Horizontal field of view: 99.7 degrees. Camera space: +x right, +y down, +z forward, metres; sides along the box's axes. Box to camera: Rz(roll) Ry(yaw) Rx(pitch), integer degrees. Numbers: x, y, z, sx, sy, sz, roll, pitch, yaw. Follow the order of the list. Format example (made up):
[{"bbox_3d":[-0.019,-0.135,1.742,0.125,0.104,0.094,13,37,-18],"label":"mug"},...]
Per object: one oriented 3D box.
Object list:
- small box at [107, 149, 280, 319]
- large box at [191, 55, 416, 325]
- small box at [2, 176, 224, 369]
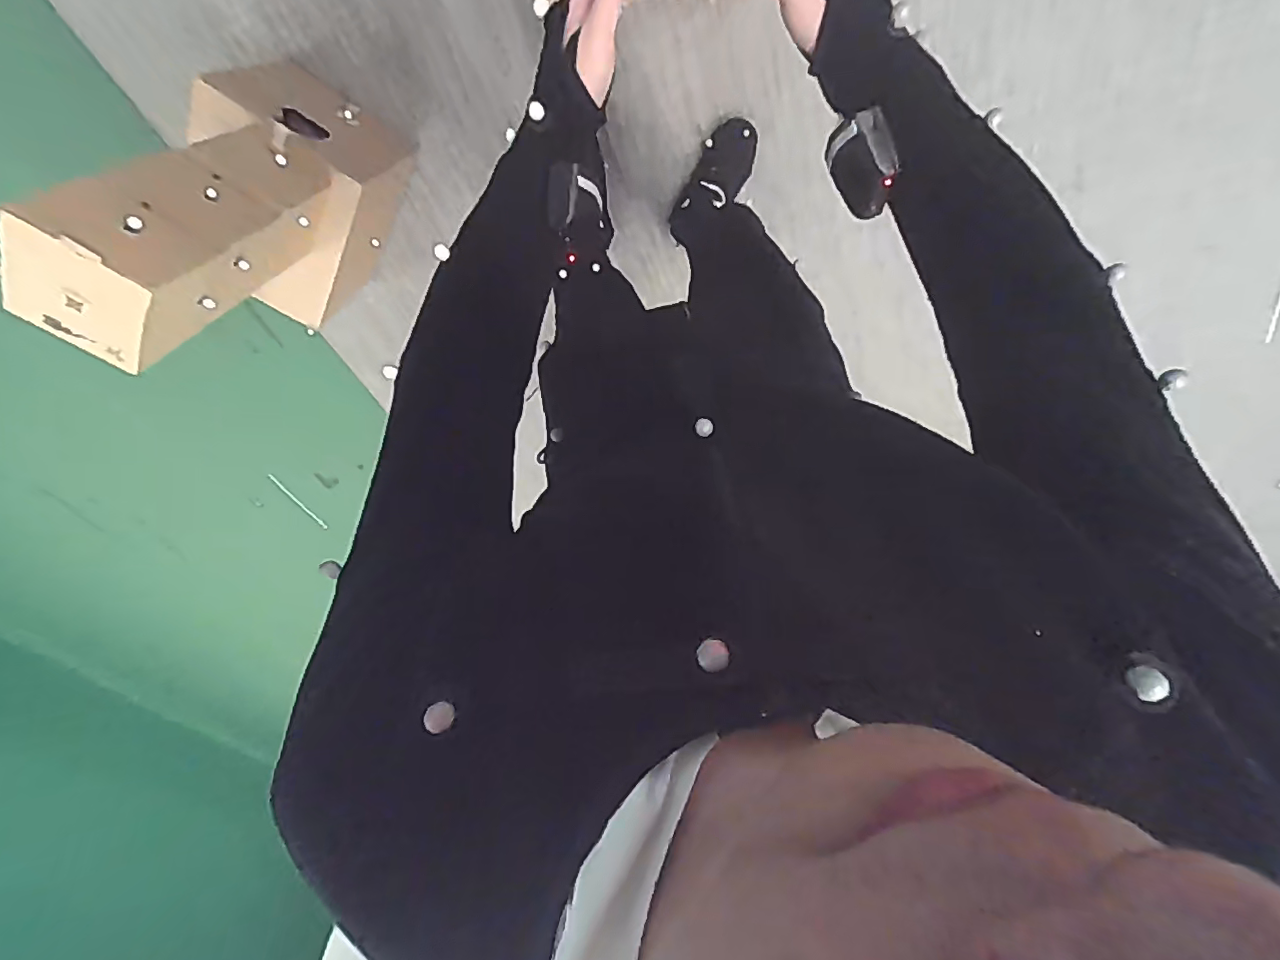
[{"bbox_3d":[-0.750,-0.418,0.912,0.168,0.176,0.179,34,127,-23],"label":"small box"},{"bbox_3d":[-0.773,-0.660,1.251,0.320,0.320,0.408,30,129,-19],"label":"large box"},{"bbox_3d":[-0.758,-0.306,0.792,0.168,0.176,0.179,34,126,-23],"label":"small box"}]
